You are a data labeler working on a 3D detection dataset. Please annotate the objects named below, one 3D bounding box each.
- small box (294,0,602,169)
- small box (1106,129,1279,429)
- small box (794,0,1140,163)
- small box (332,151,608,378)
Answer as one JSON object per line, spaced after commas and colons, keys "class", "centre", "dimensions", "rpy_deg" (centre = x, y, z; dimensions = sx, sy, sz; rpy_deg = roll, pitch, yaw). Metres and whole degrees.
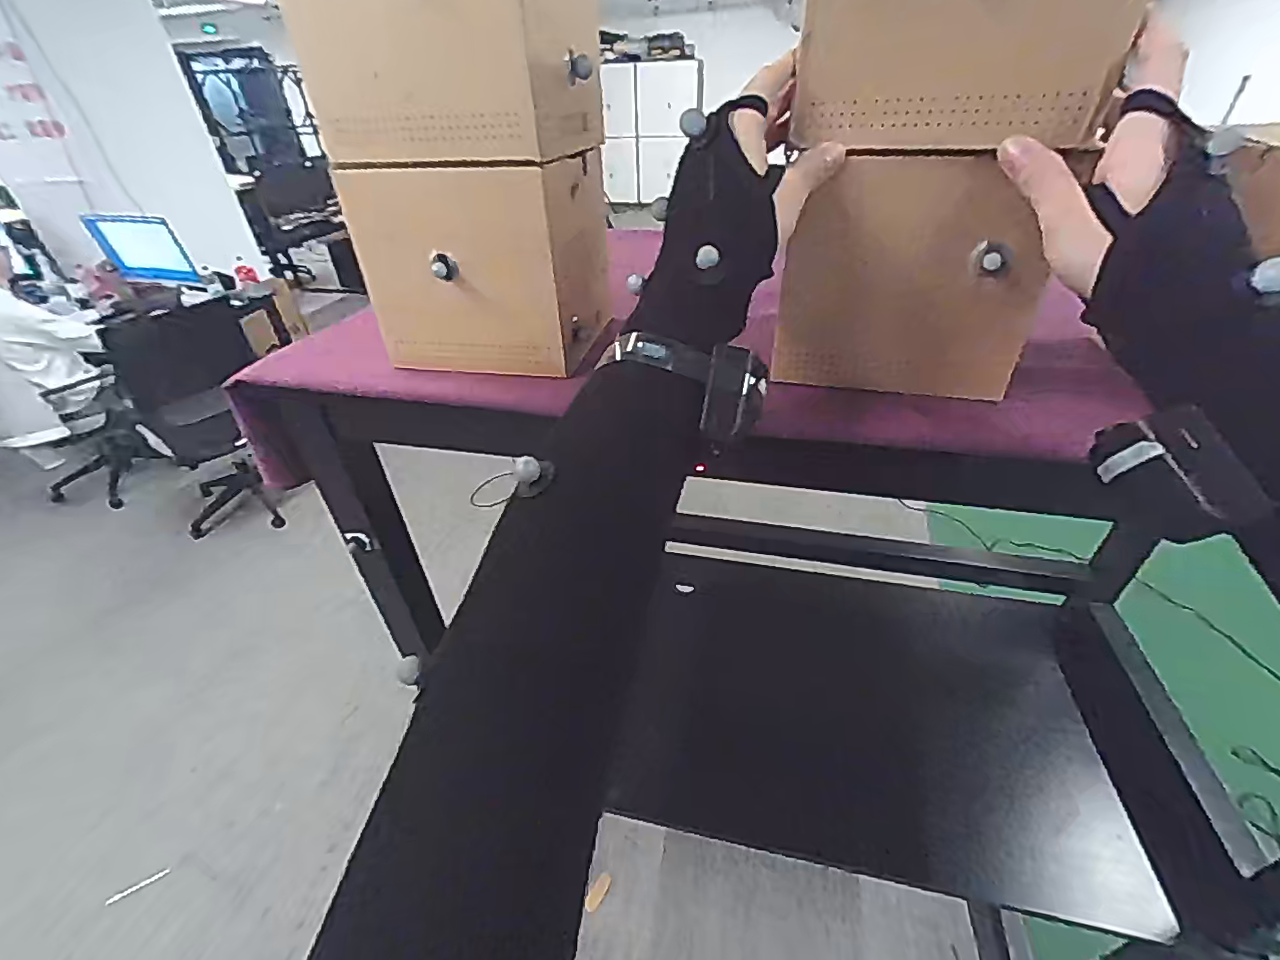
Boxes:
{"class": "small box", "centre": [-0.137, -0.340, 0.413], "dimensions": [0.179, 0.176, 0.168], "rpy_deg": [6, 37, 12]}
{"class": "small box", "centre": [0.477, -0.139, 0.379], "dimensions": [0.179, 0.176, 0.168], "rpy_deg": [8, 39, 14]}
{"class": "small box", "centre": [0.204, -0.310, 0.352], "dimensions": [0.179, 0.176, 0.168], "rpy_deg": [10, 38, 18]}
{"class": "small box", "centre": [-0.134, -0.206, 0.508], "dimensions": [0.179, 0.176, 0.168], "rpy_deg": [5, 36, 11]}
